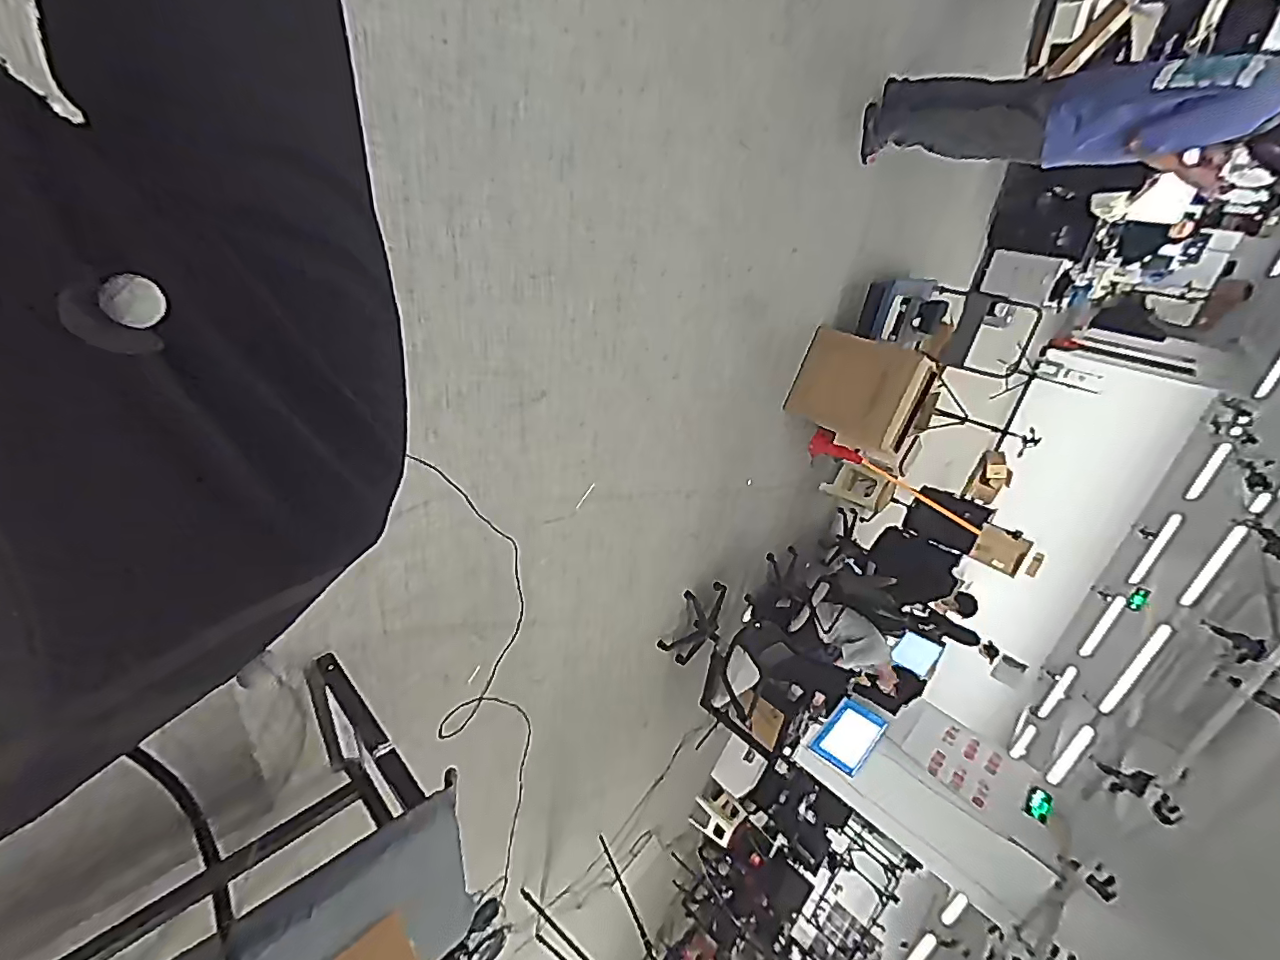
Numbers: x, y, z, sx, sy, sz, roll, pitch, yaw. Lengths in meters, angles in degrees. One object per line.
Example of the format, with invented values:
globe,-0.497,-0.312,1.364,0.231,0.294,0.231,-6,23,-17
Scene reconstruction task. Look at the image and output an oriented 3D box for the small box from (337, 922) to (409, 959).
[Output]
small box,-0.608,1.165,1.220,0.179,0.176,0.168,-23,130,-40
